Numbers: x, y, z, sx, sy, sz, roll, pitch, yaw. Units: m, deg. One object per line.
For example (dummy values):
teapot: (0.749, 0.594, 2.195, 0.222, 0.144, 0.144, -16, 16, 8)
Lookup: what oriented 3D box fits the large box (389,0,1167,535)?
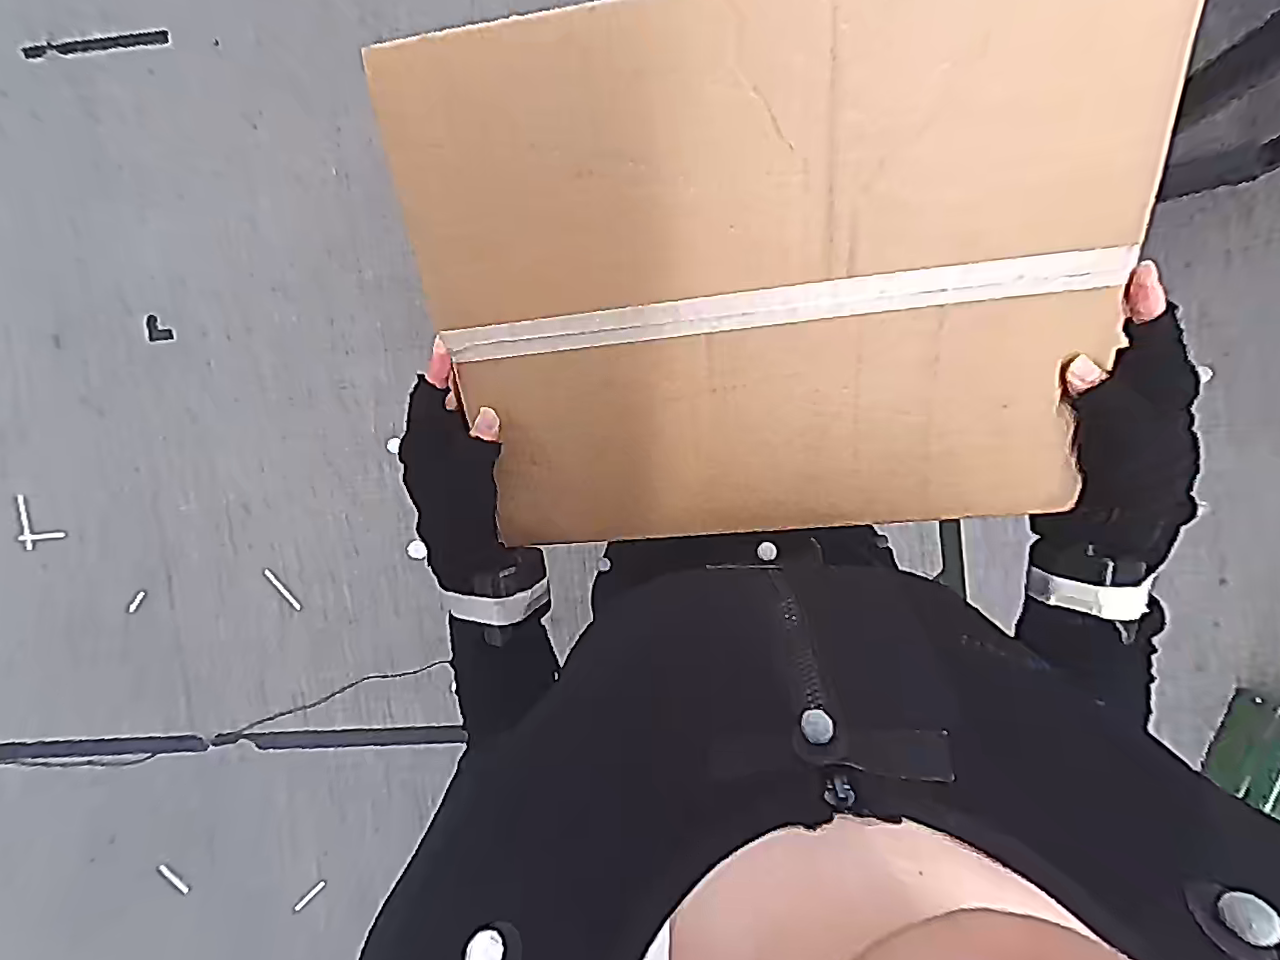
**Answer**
large box: (0.083, -0.173, 0.469, 0.408, 0.320, 0.320, -4, 117, 7)
